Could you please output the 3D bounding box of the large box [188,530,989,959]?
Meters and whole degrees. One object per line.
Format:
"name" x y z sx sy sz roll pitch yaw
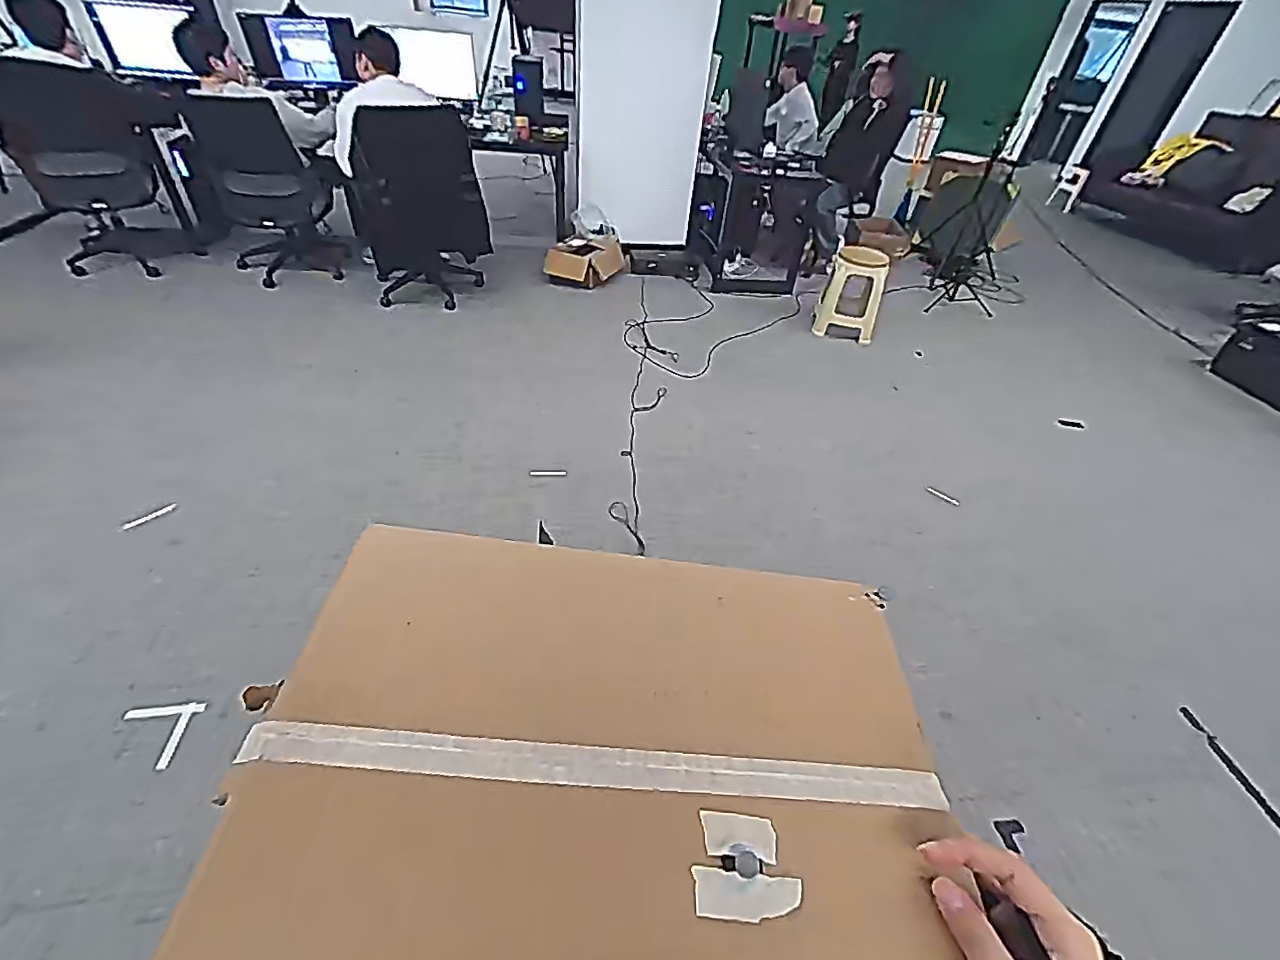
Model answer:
"large box" -0.033 0.274 0.435 0.408 0.320 0.320 9 46 -7
